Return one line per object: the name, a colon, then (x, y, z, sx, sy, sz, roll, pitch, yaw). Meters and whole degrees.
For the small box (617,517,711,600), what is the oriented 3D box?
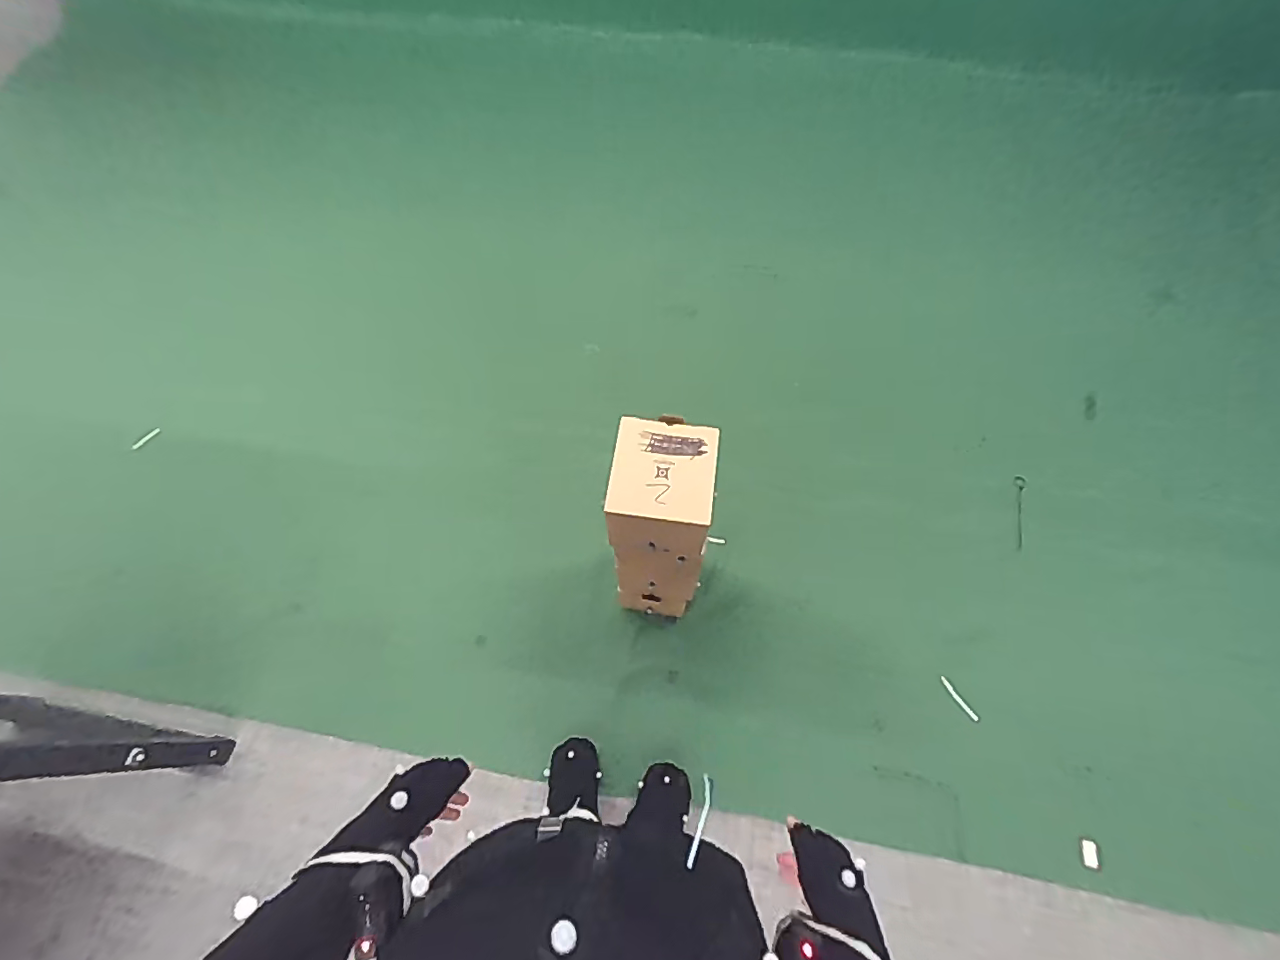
small box: (0.052, 0.162, 1.219, 0.179, 0.176, 0.168, 11, 63, 6)

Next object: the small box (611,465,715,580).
small box: (0.047, 0.089, 1.076, 0.179, 0.176, 0.168, 8, 64, 4)

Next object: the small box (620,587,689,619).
small box: (0.048, 0.237, 1.368, 0.168, 0.176, 0.179, 9, 65, 6)
